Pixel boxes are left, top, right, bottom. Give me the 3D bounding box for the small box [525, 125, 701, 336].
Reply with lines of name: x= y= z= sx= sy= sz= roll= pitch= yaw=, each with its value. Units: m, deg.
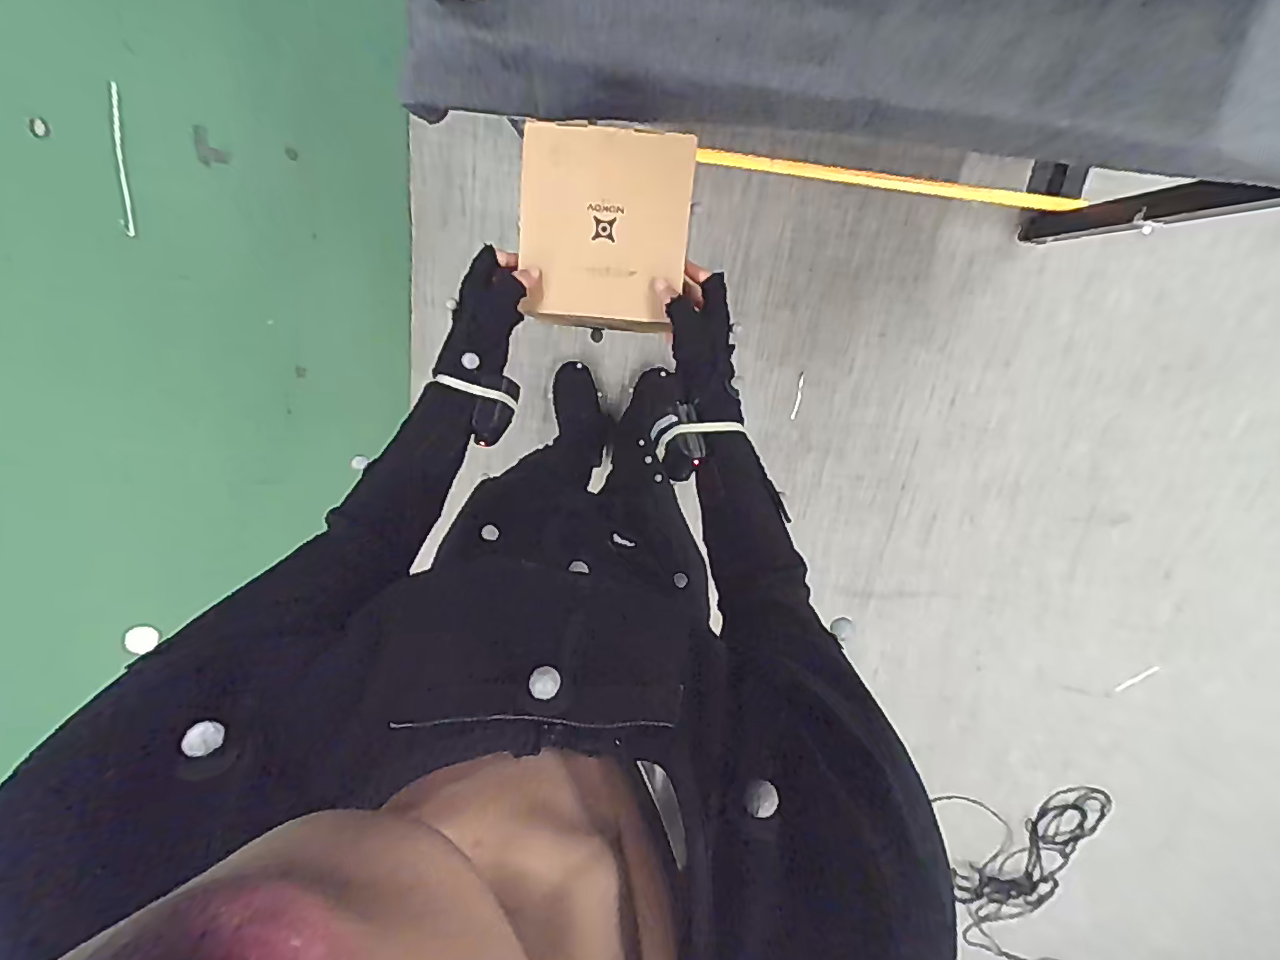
small box: x=-0.028 y=-0.265 z=0.615 sx=0.168 sy=0.176 sz=0.179 roll=5 pitch=102 yaw=1
